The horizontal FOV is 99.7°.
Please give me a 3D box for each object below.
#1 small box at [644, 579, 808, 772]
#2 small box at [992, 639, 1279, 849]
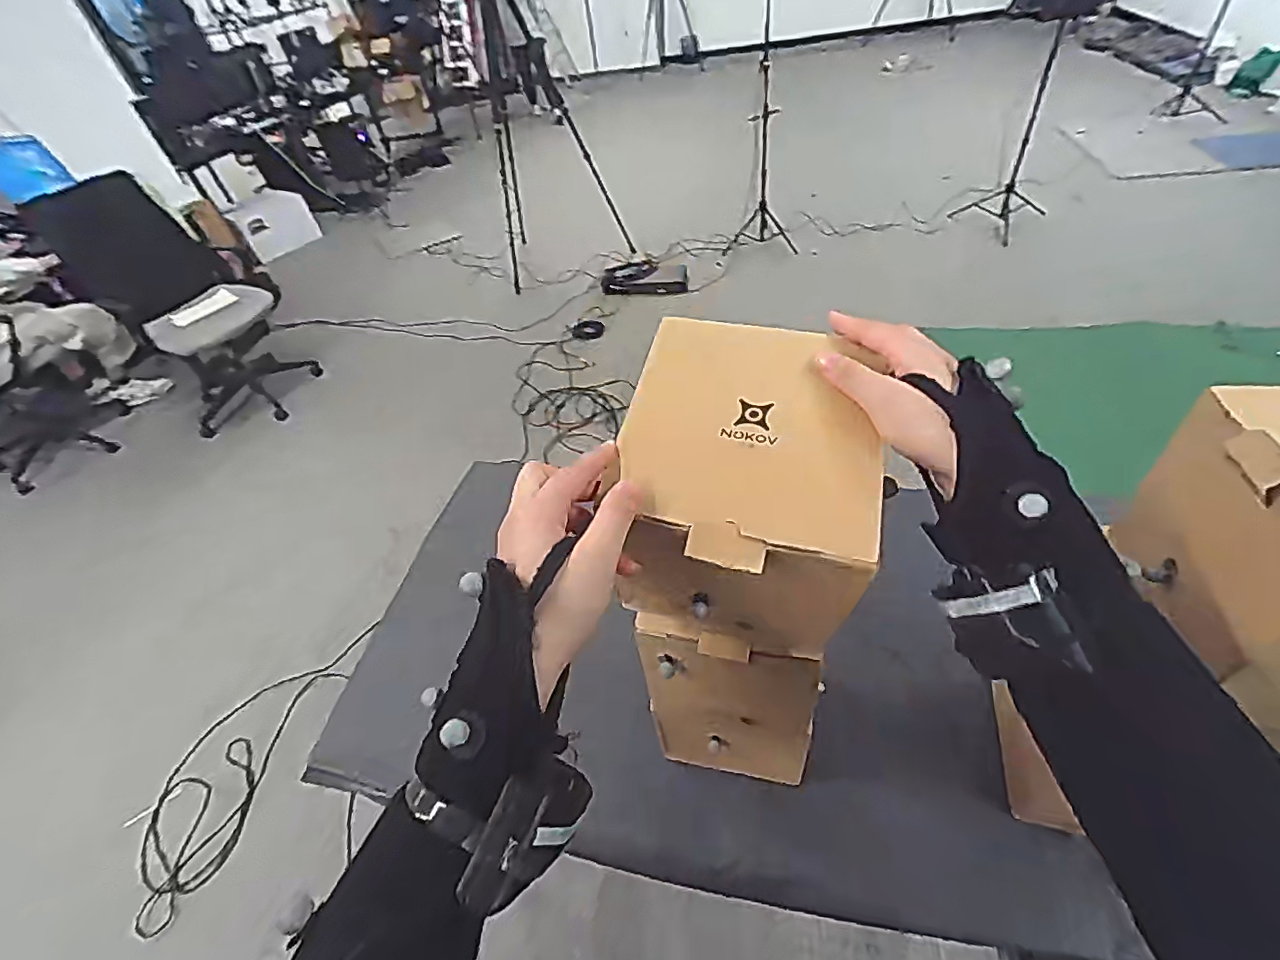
[{"bbox_3d":[0.117,0.249,0.689,0.179,0.176,0.168,4,46,15],"label":"small box"},{"bbox_3d":[0.509,0.266,0.592,0.168,0.176,0.179,6,47,18],"label":"small box"}]
